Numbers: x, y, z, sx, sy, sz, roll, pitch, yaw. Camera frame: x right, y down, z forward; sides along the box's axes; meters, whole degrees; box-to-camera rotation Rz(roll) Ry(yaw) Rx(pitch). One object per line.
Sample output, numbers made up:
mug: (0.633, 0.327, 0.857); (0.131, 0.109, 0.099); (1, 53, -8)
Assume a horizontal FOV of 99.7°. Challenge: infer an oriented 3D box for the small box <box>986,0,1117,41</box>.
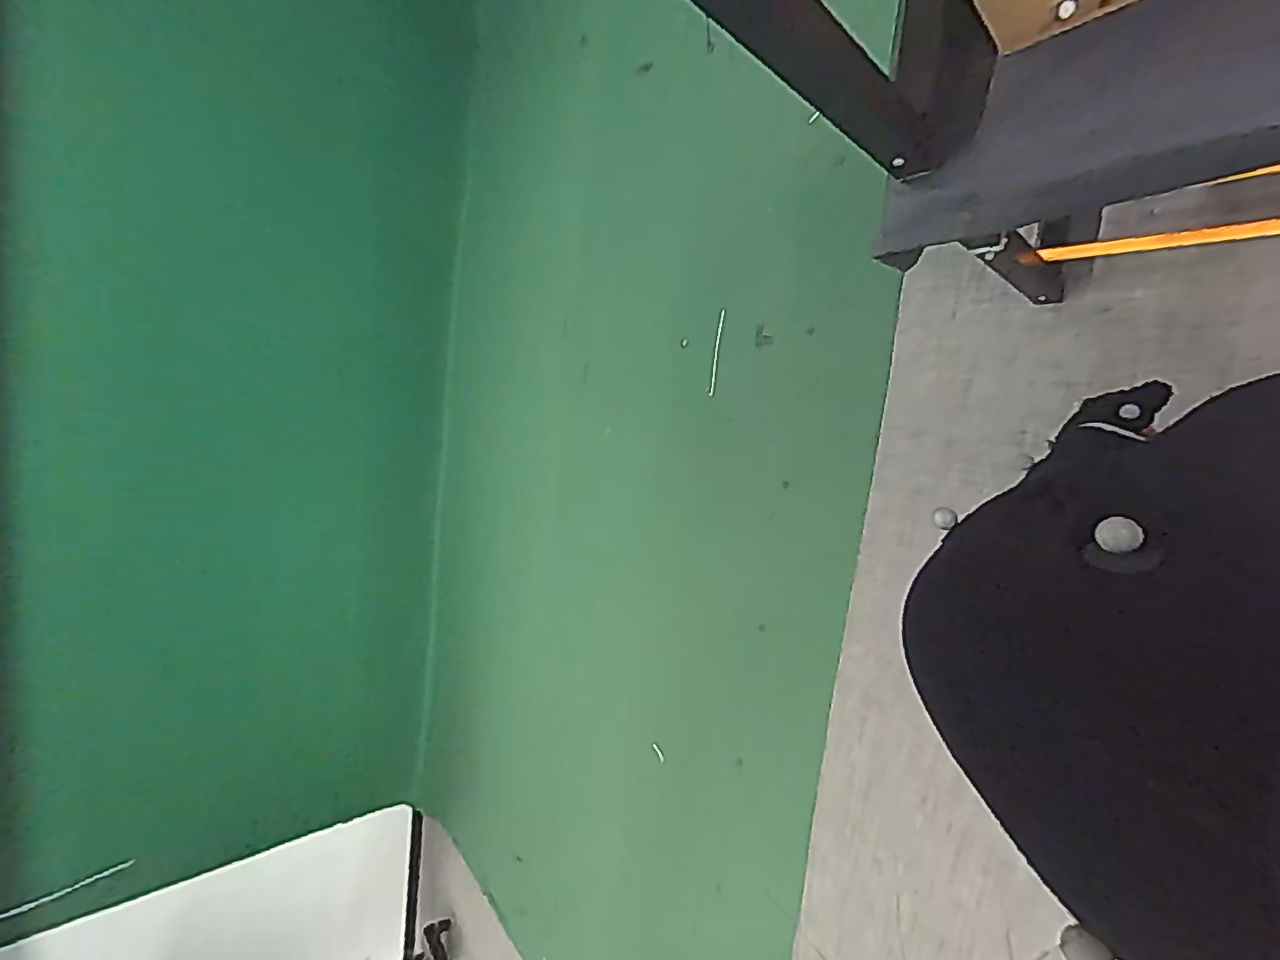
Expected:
small box: (0.466, -0.633, 0.575); (0.168, 0.176, 0.179); (9, 97, 49)
